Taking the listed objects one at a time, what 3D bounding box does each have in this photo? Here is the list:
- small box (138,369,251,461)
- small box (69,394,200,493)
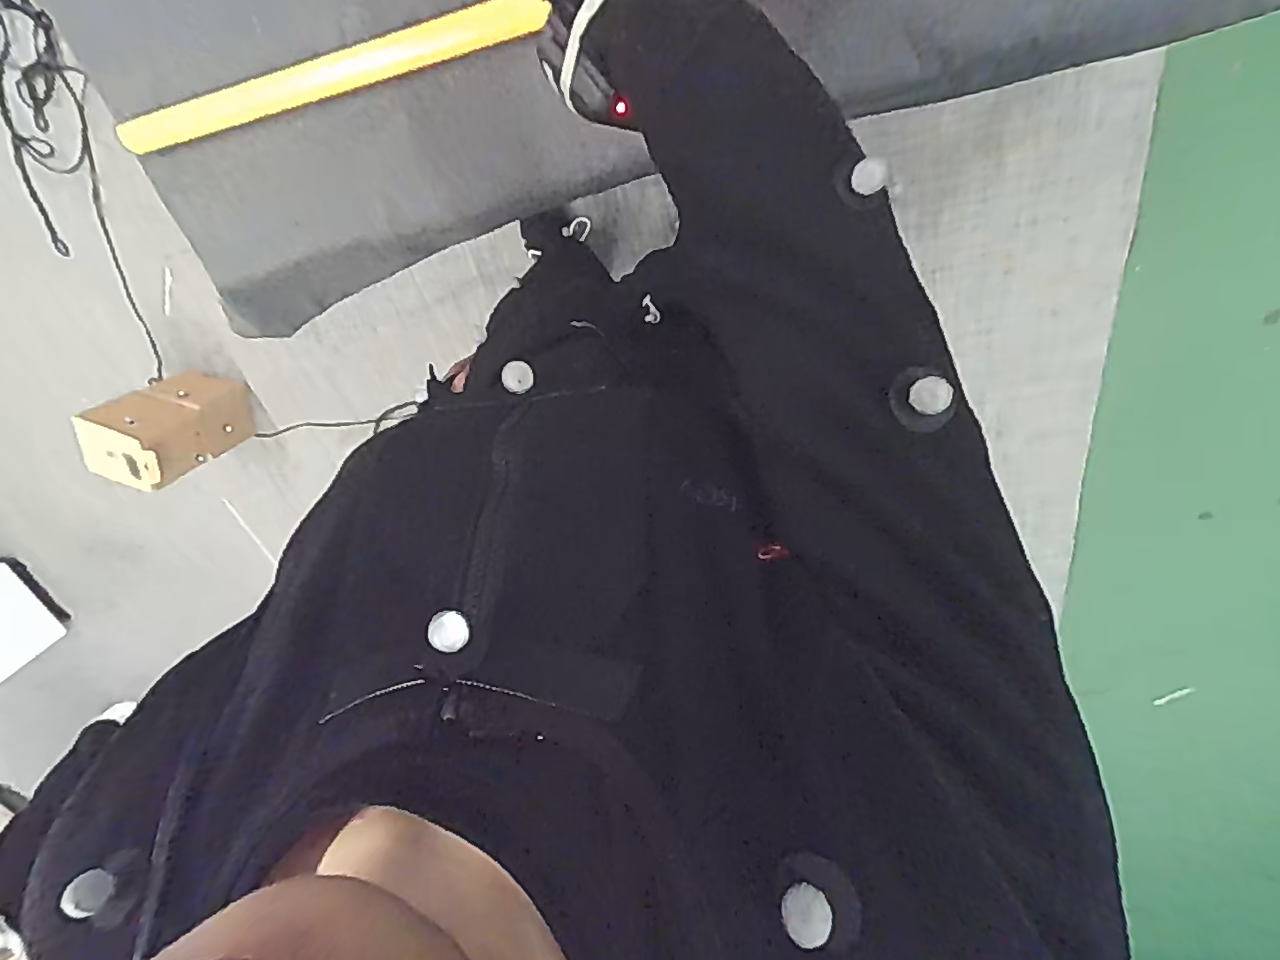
[{"bbox_3d":[-1.236,-0.186,1.518,0.168,0.176,0.179,16,123,0],"label":"small box"},{"bbox_3d":[-1.271,-0.100,1.382,0.179,0.176,0.168,20,122,-2],"label":"small box"}]
